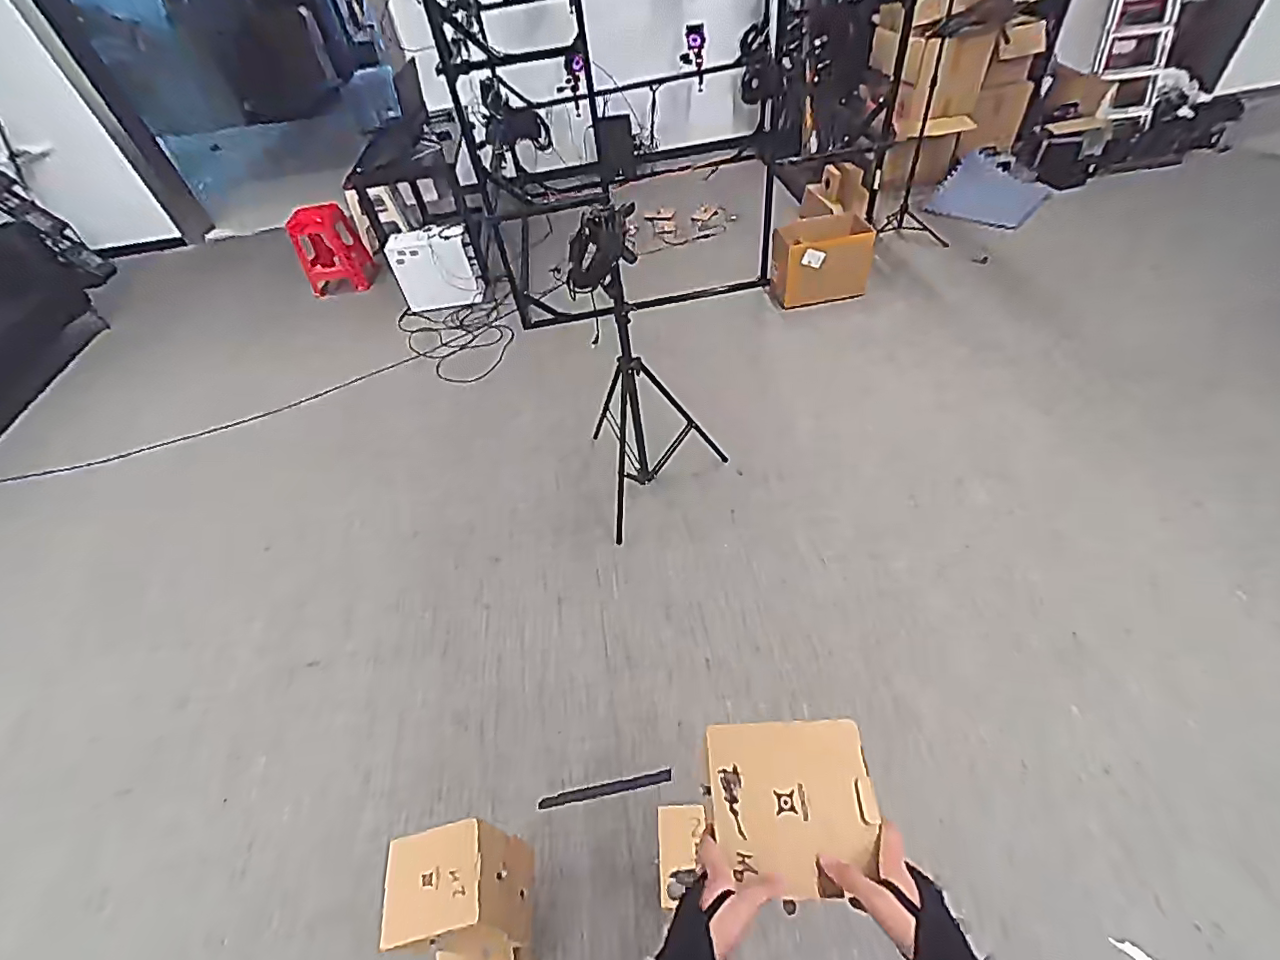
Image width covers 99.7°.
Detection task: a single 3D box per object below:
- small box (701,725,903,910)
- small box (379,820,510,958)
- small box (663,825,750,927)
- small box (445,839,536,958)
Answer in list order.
[{"bbox_3d":[0.169,0.392,0.632,0.179,0.176,0.168,-3,53,1],"label":"small box"},{"bbox_3d":[-0.359,0.776,1.023,0.179,0.176,0.168,-14,46,-3],"label":"small box"},{"bbox_3d":[0.157,0.918,1.257,0.179,0.176,0.168,-10,47,-1],"label":"small box"},{"bbox_3d":[-0.323,0.885,1.142,0.168,0.176,0.179,-9,47,3],"label":"small box"}]
